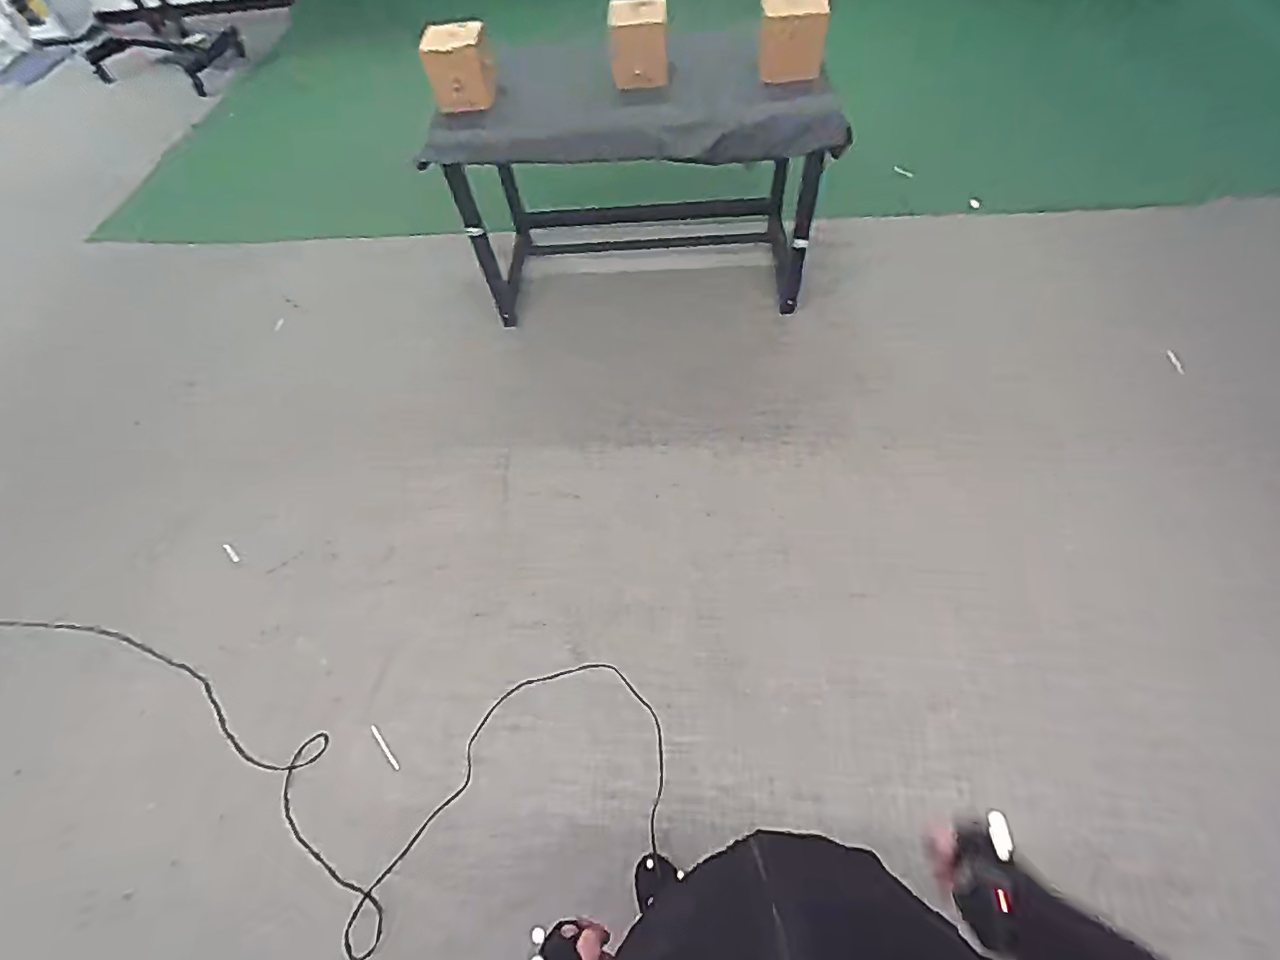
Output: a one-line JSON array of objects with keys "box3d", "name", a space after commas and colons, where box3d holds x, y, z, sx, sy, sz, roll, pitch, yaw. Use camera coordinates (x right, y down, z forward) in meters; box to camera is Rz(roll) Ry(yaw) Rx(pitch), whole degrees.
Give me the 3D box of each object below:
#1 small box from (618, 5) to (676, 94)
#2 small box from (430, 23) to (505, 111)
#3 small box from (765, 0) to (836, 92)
[{"box3d": [0.025, -1.320, 1.662, 0.168, 0.176, 0.179, 0, 60, 4], "name": "small box"}, {"box3d": [-0.524, -1.267, 1.670, 0.168, 0.176, 0.179, -2, 59, 3], "name": "small box"}, {"box3d": [0.468, -1.286, 1.608, 0.179, 0.176, 0.168, 2, 60, 5], "name": "small box"}]
